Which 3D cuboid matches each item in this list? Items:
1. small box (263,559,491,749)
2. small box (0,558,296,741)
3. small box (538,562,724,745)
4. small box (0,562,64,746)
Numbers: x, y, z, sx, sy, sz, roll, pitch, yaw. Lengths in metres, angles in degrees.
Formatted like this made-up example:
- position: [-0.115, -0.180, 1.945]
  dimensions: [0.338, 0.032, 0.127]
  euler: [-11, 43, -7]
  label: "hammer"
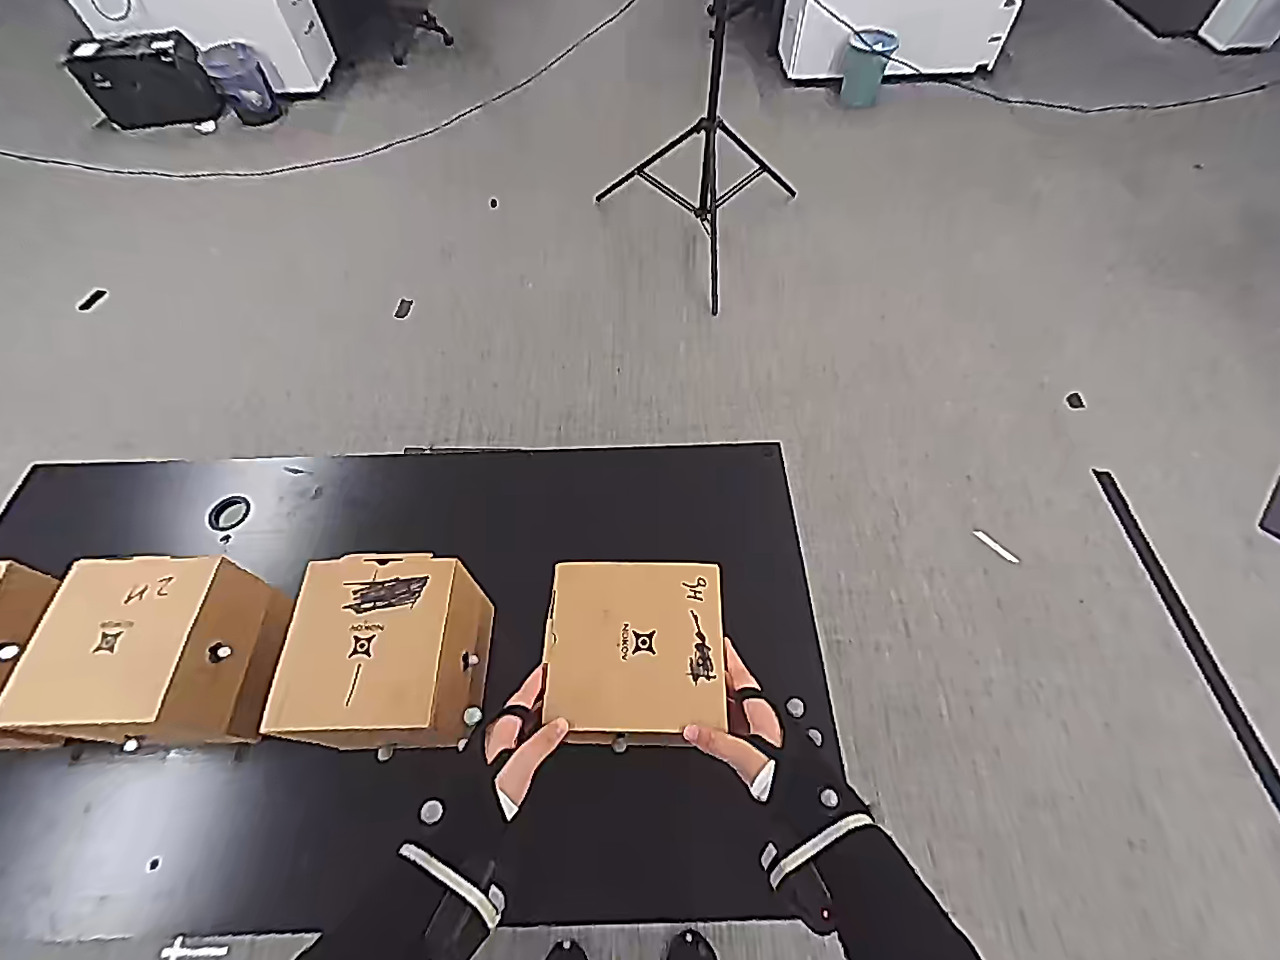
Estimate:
- position: [-0.279, 0.205, 0.626]
  dimensions: [0.168, 0.176, 0.179]
  euler: [-2, 59, 0]
  label: "small box"
- position: [-0.544, 0.204, 0.631]
  dimensions: [0.168, 0.176, 0.179]
  euler: [-1, 58, 0]
  label: "small box"
- position: [-0.002, 0.200, 0.605]
  dimensions: [0.179, 0.176, 0.168]
  euler: [0, 60, 3]
  label: "small box"
- position: [-0.784, 0.211, 0.634]
  dimensions: [0.168, 0.176, 0.179]
  euler: [-2, 57, -1]
  label: "small box"
